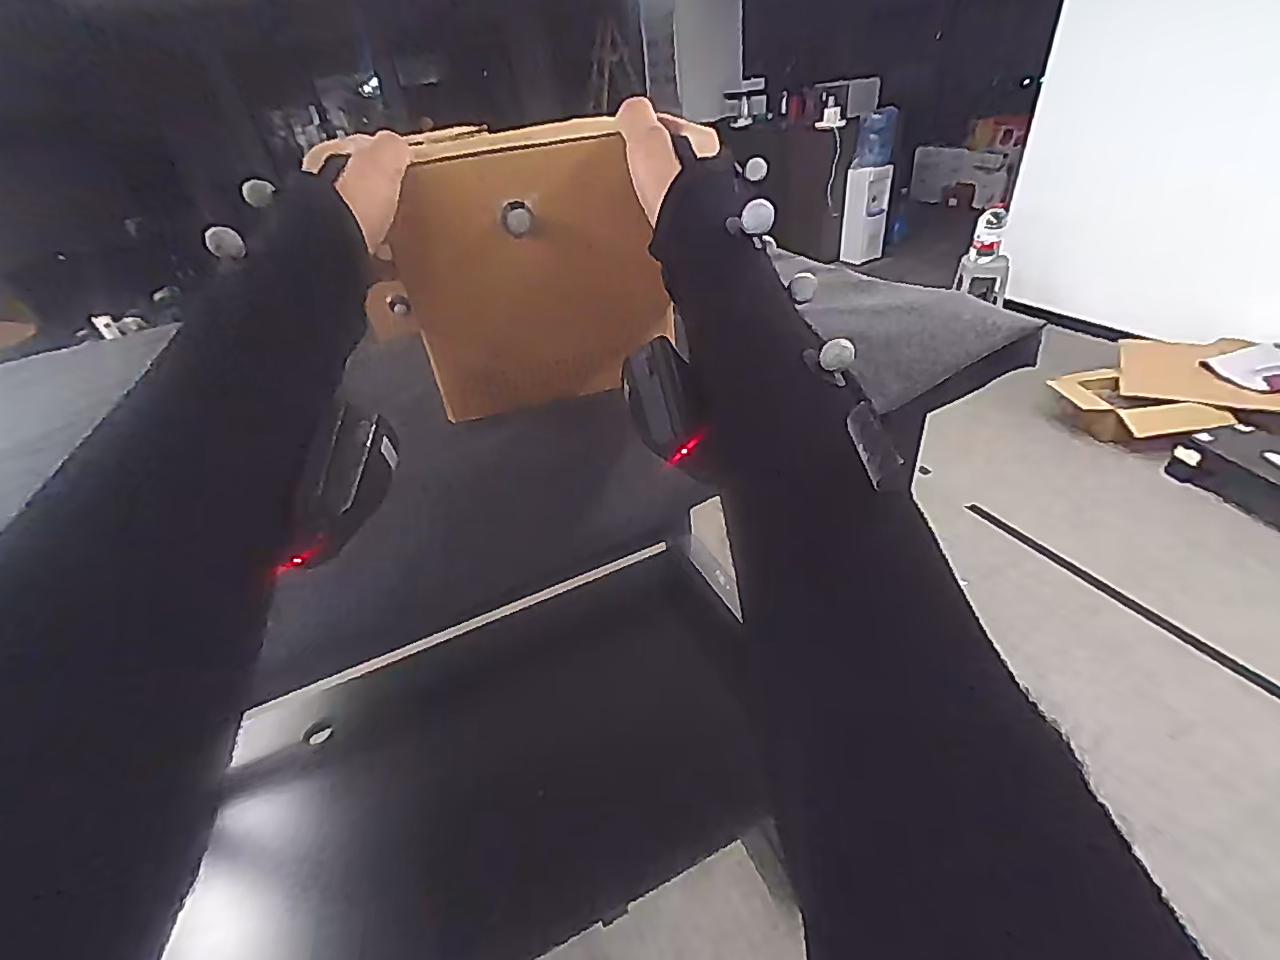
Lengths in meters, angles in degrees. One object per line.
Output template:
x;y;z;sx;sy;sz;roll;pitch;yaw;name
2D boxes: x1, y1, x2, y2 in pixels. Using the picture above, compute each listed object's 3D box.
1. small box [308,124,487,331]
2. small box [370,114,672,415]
-0.232;-0.278;0.597;0.168;0.176;0.179;-18;37;-13;small box
-0.077;-0.172;0.423;0.179;0.176;0.168;-14;36;-7;small box
